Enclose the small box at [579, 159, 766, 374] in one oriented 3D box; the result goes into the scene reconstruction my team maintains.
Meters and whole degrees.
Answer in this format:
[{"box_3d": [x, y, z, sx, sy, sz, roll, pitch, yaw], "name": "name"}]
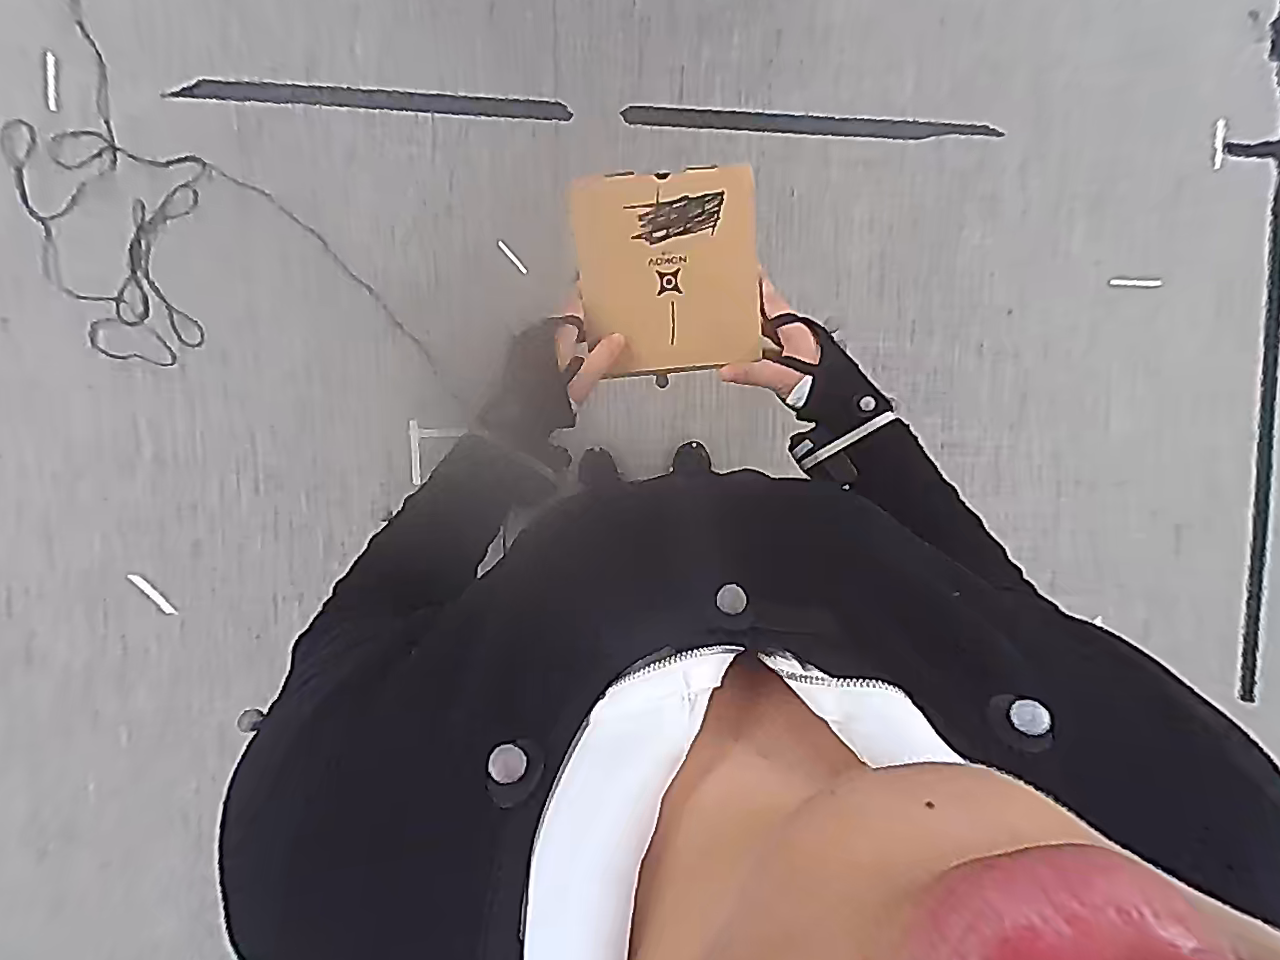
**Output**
[{"box_3d": [0.029, -0.209, 0.575, 0.168, 0.176, 0.179, -5, 100, 0], "name": "small box"}]
